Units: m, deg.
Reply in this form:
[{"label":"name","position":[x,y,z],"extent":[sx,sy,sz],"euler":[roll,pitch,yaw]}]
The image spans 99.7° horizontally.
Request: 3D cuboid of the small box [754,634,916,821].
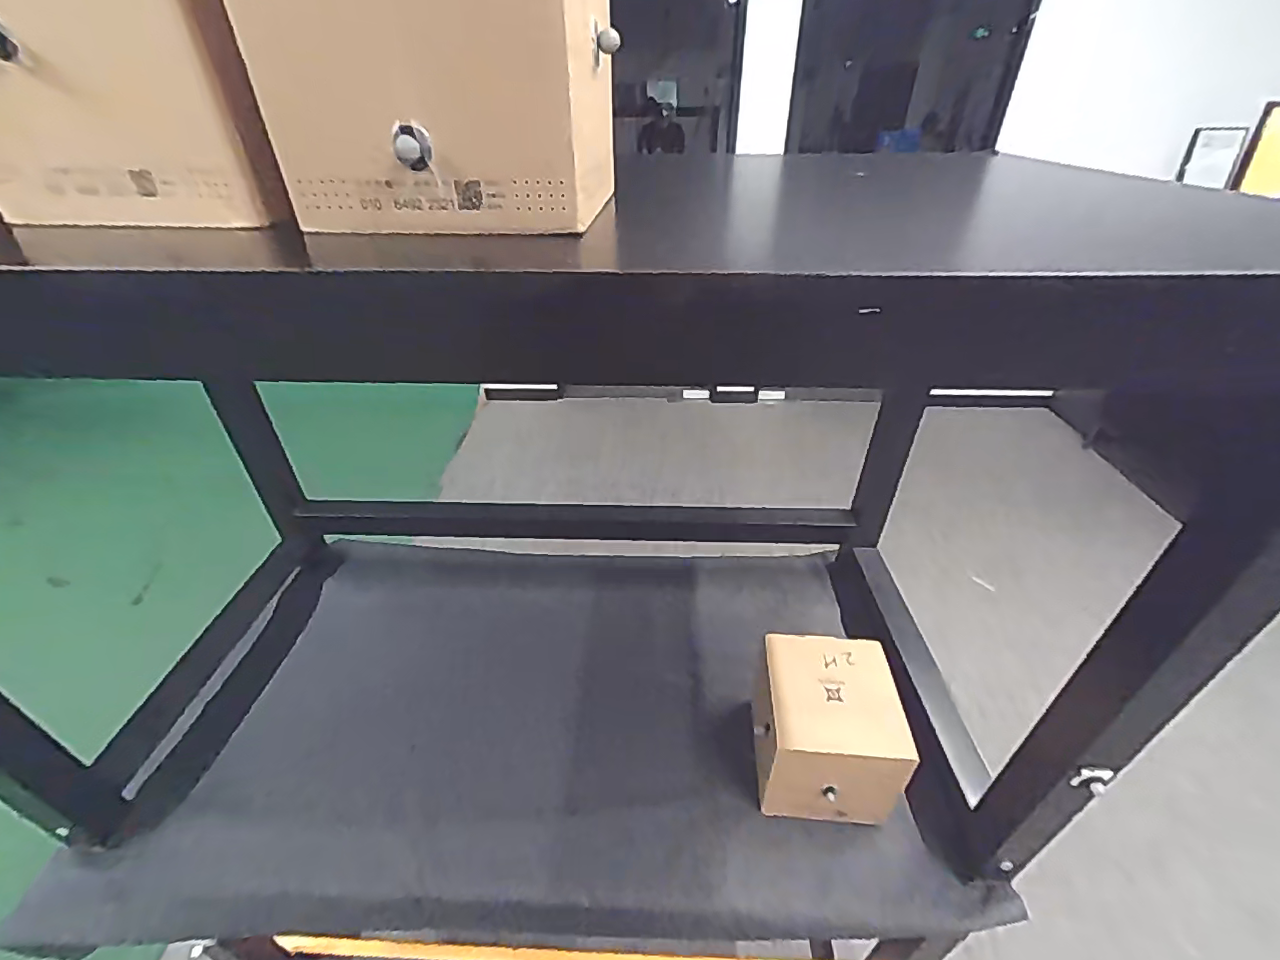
[{"label":"small box","position":[0.255,0.343,0.753],"extent":[0.168,0.176,0.179],"euler":[3,34,4]}]
